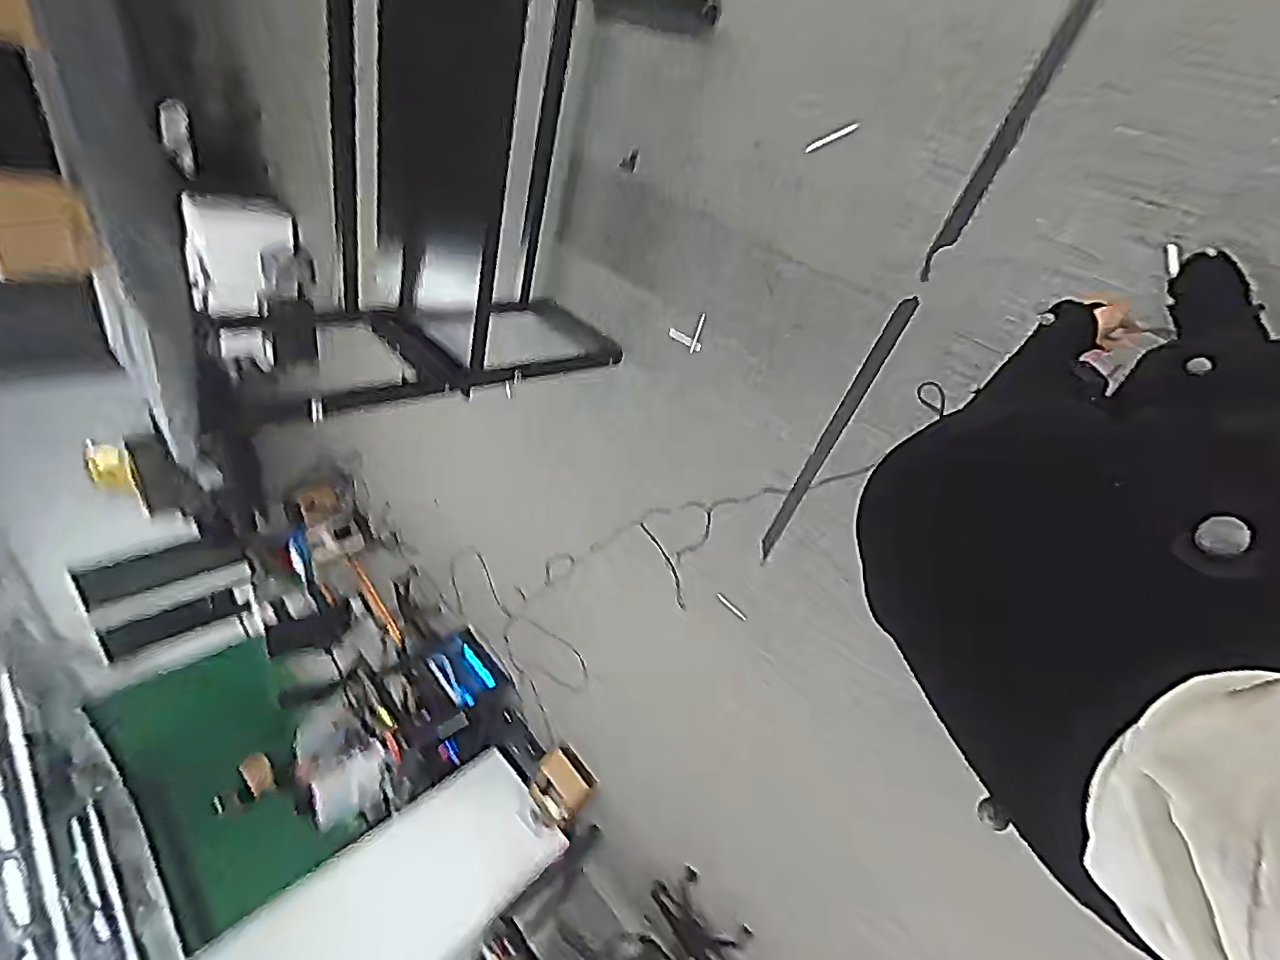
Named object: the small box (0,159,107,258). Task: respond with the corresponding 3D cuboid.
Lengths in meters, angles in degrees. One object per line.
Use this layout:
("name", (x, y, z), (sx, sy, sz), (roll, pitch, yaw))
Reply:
("small box", (-1.306, -0.589, 1.177), (0.179, 0.176, 0.168), (33, 127, 30))
